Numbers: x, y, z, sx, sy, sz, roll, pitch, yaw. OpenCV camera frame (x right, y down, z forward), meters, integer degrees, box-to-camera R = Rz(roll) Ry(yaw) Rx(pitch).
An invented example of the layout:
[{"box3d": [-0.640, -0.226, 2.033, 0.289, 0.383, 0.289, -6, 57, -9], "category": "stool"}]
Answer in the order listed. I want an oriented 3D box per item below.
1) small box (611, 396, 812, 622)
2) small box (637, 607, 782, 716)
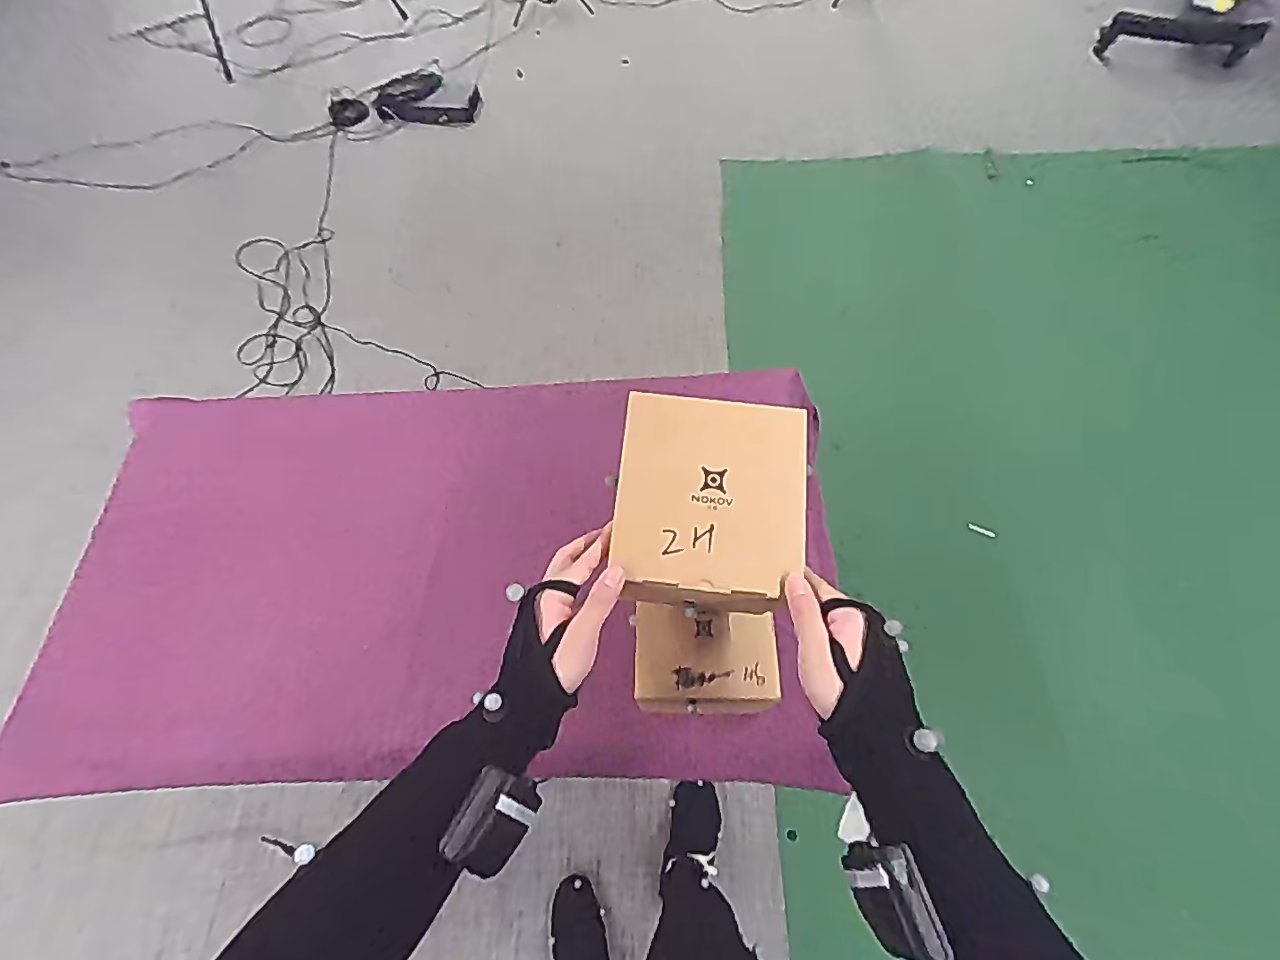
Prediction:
[{"box3d": [0.065, 0.039, 0.545, 0.168, 0.176, 0.179, 7, 71, 2], "category": "small box"}, {"box3d": [0.083, 0.207, 0.714, 0.168, 0.176, 0.179, 0, 61, 3], "category": "small box"}]
